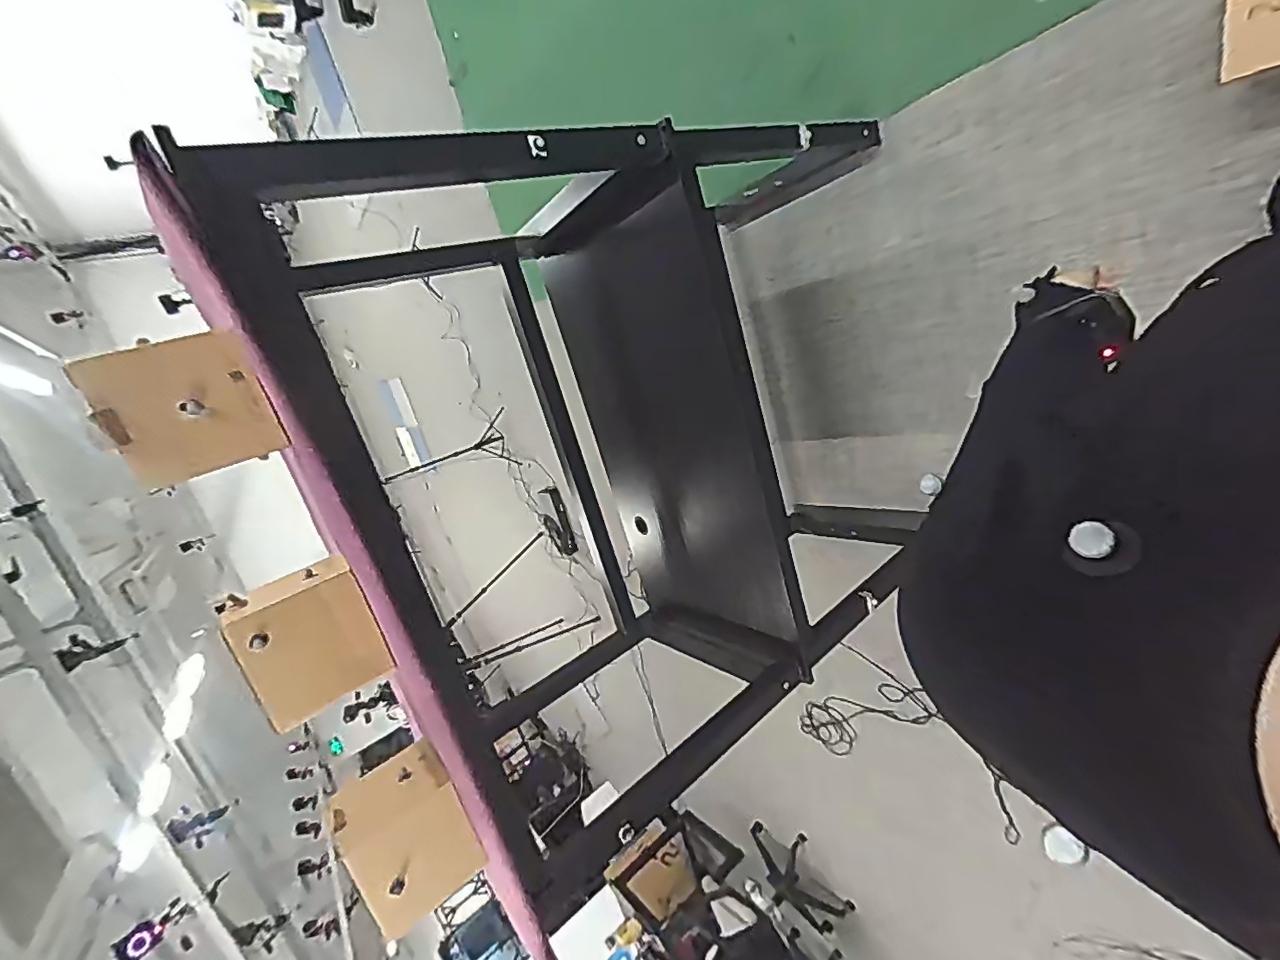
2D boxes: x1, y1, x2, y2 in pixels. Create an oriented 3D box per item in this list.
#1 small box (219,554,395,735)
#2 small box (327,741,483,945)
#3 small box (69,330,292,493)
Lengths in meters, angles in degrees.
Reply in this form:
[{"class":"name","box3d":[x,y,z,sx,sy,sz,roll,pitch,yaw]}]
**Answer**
[{"class":"small box","box3d":[-0.492,0.235,0.817,0.168,0.176,0.179,3,113,57]},{"class":"small box","box3d":[-0.378,0.574,0.881,0.168,0.176,0.179,1,112,54]},{"class":"small box","box3d":[-0.602,-0.100,0.736,0.179,0.176,0.168,14,124,53]}]
